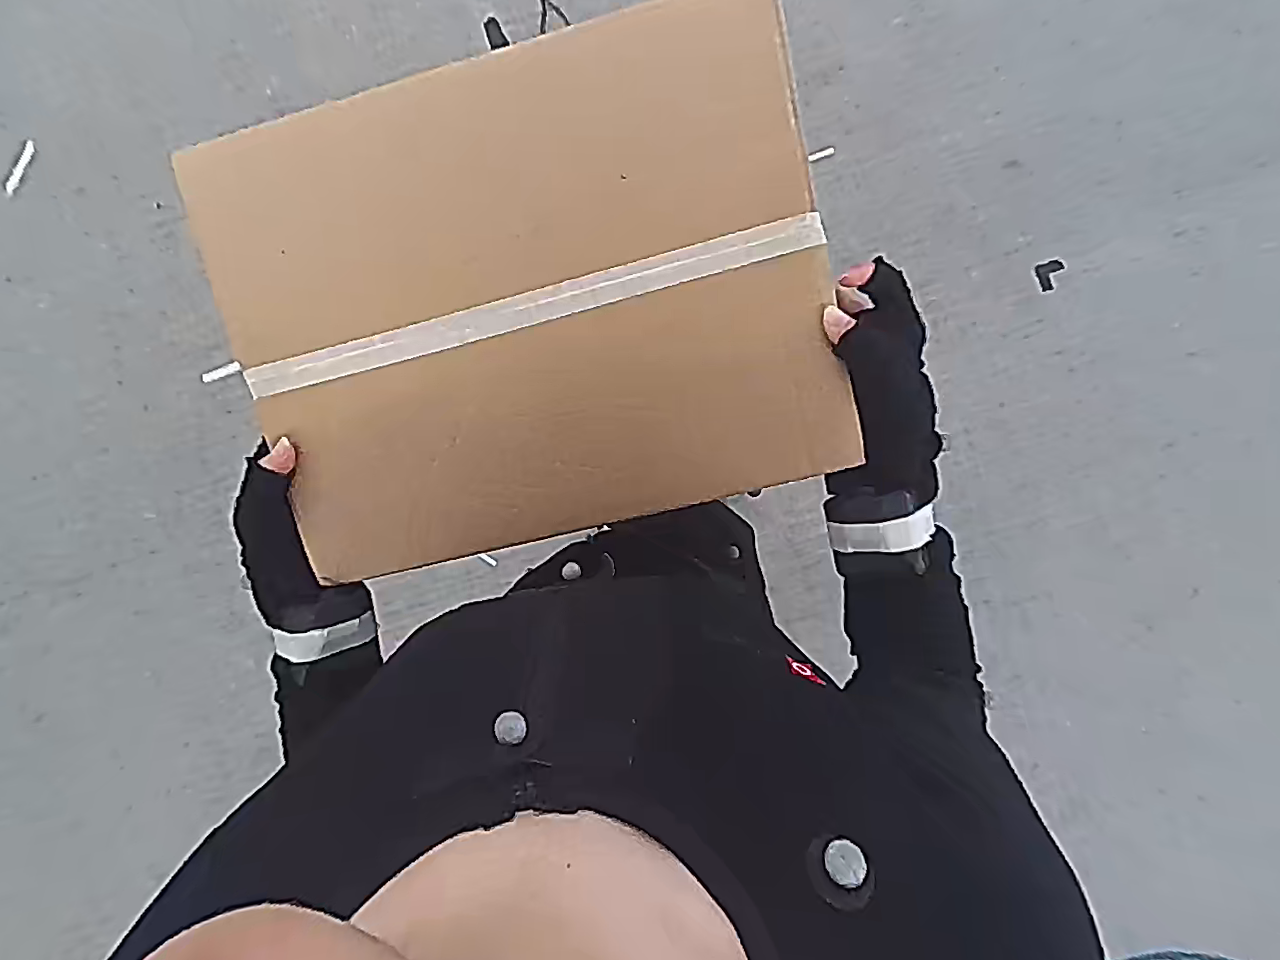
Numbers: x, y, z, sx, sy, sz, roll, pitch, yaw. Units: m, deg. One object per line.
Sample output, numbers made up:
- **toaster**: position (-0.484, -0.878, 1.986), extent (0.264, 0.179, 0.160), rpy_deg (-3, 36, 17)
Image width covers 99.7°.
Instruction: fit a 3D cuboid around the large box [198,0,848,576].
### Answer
- **large box**: position (-0.070, -0.142, 0.522), extent (0.408, 0.320, 0.320), rpy_deg (-13, 98, 6)
